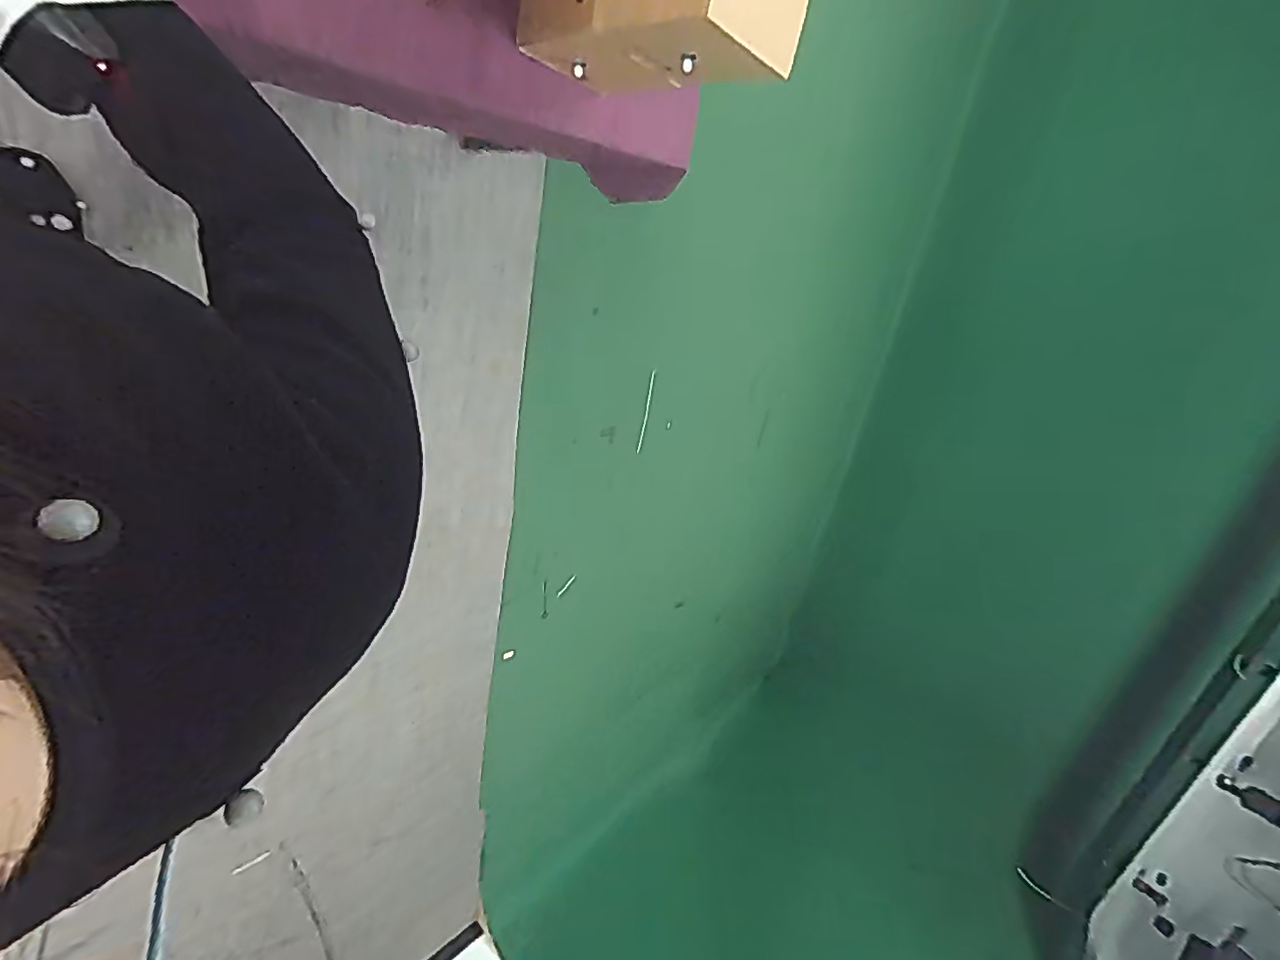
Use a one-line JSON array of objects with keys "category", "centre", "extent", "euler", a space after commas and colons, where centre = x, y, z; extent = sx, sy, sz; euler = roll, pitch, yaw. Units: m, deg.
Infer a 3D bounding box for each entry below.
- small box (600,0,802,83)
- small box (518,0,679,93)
[{"category": "small box", "centre": [0.075, -0.582, 0.613], "extent": [0.168, 0.176, 0.179], "euler": [-12, 121, -46]}, {"category": "small box", "centre": [-0.042, -0.644, 0.712], "extent": [0.168, 0.176, 0.179], "euler": [-10, 119, -46]}]
